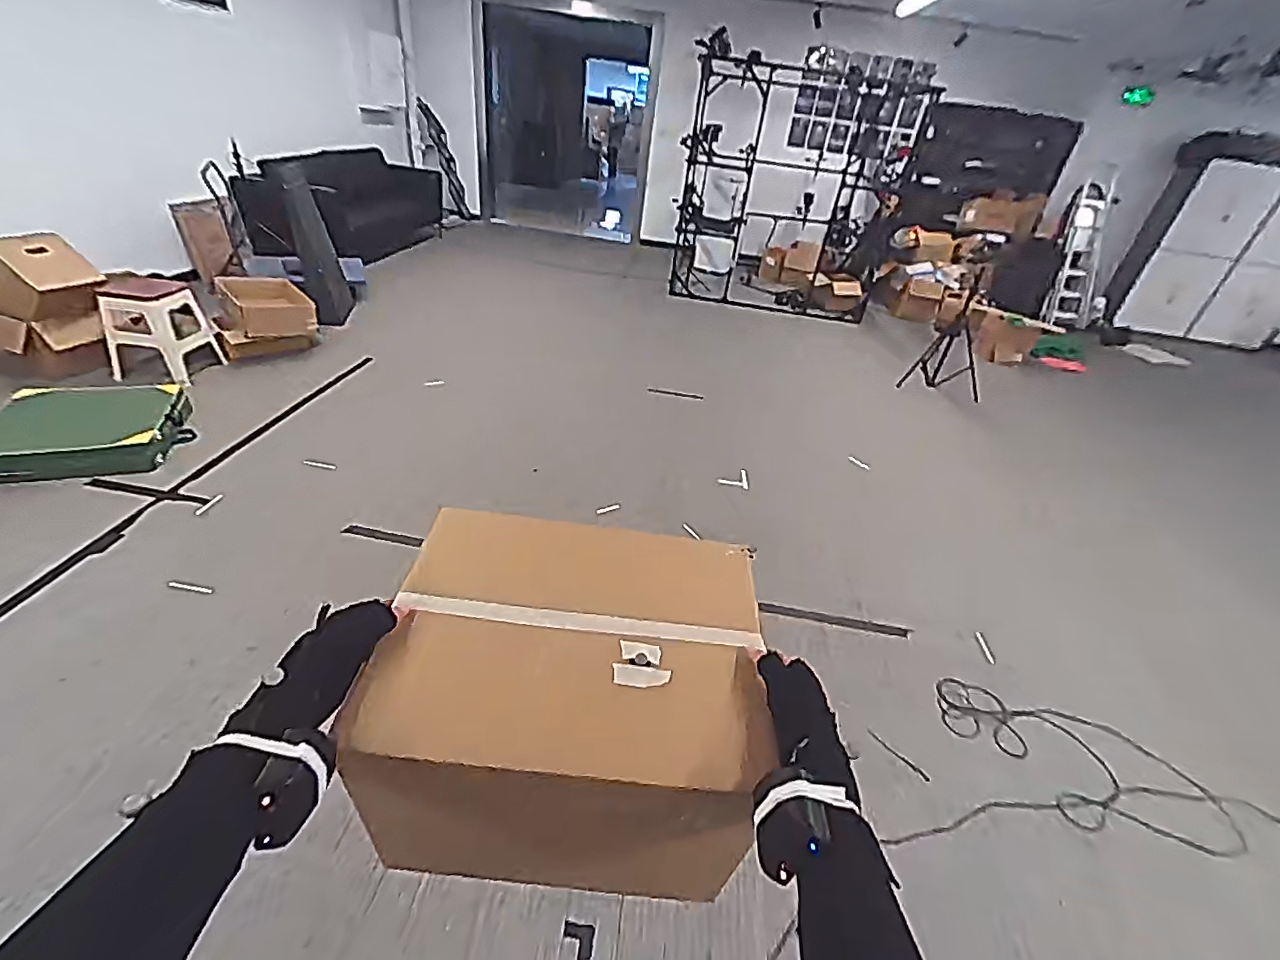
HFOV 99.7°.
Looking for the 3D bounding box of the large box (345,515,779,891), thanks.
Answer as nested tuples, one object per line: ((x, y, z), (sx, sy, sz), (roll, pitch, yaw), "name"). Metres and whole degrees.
((-0.082, 0.280, 0.691), (0.408, 0.320, 0.320), (8, 38, -2), "large box")
